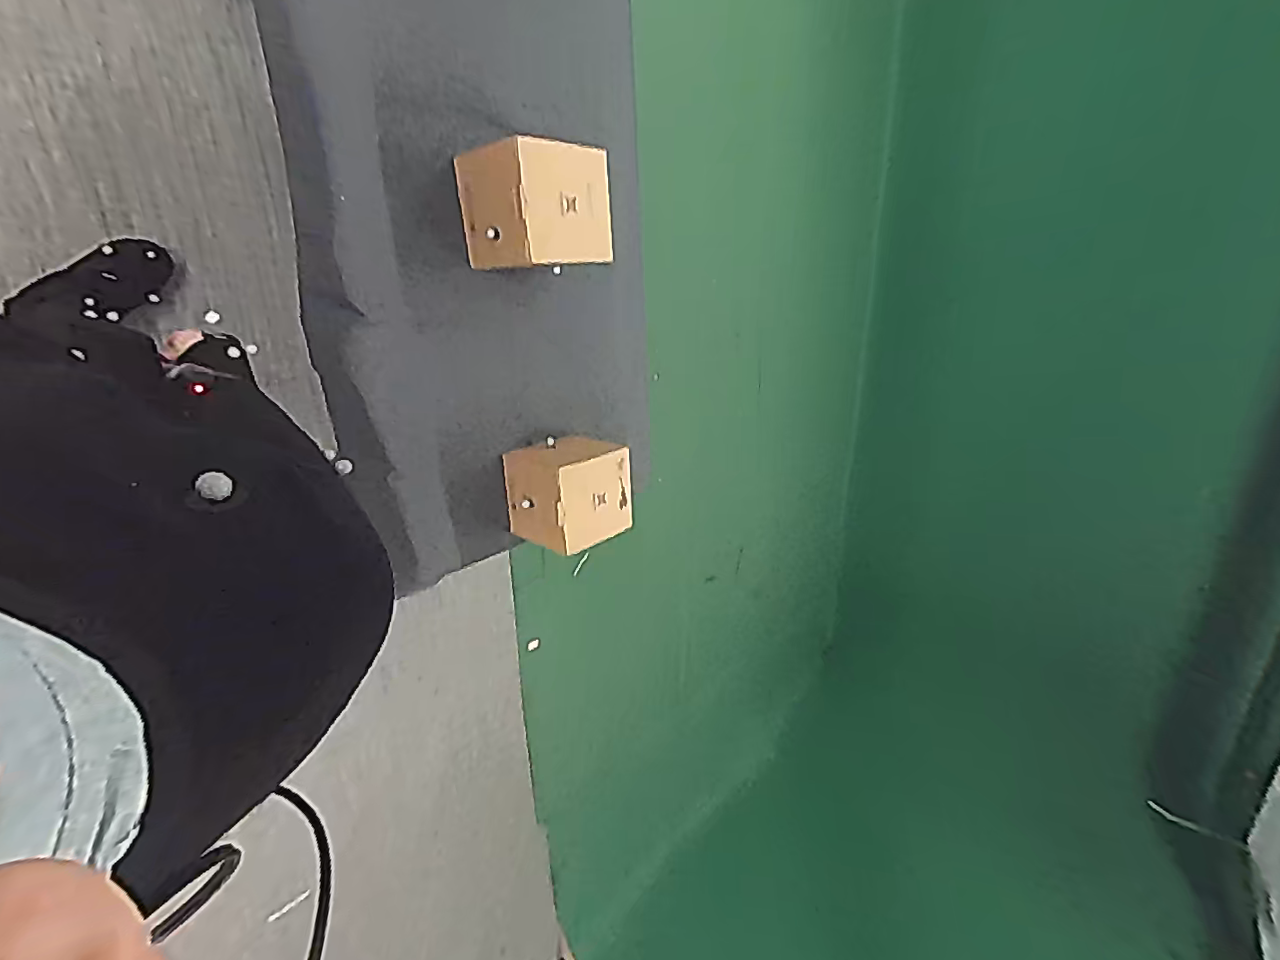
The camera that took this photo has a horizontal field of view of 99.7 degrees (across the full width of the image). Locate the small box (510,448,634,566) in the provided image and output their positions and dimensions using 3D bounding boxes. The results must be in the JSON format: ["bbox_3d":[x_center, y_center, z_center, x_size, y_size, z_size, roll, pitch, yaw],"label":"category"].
[{"bbox_3d":[-0.133,0.041,1.031,0.179,0.176,0.168,-20,115,-44],"label":"small box"}]

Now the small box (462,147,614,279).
[{"bbox_3d":[-0.166,-0.416,0.869,0.179,0.176,0.168,-25,120,-44],"label":"small box"}]
